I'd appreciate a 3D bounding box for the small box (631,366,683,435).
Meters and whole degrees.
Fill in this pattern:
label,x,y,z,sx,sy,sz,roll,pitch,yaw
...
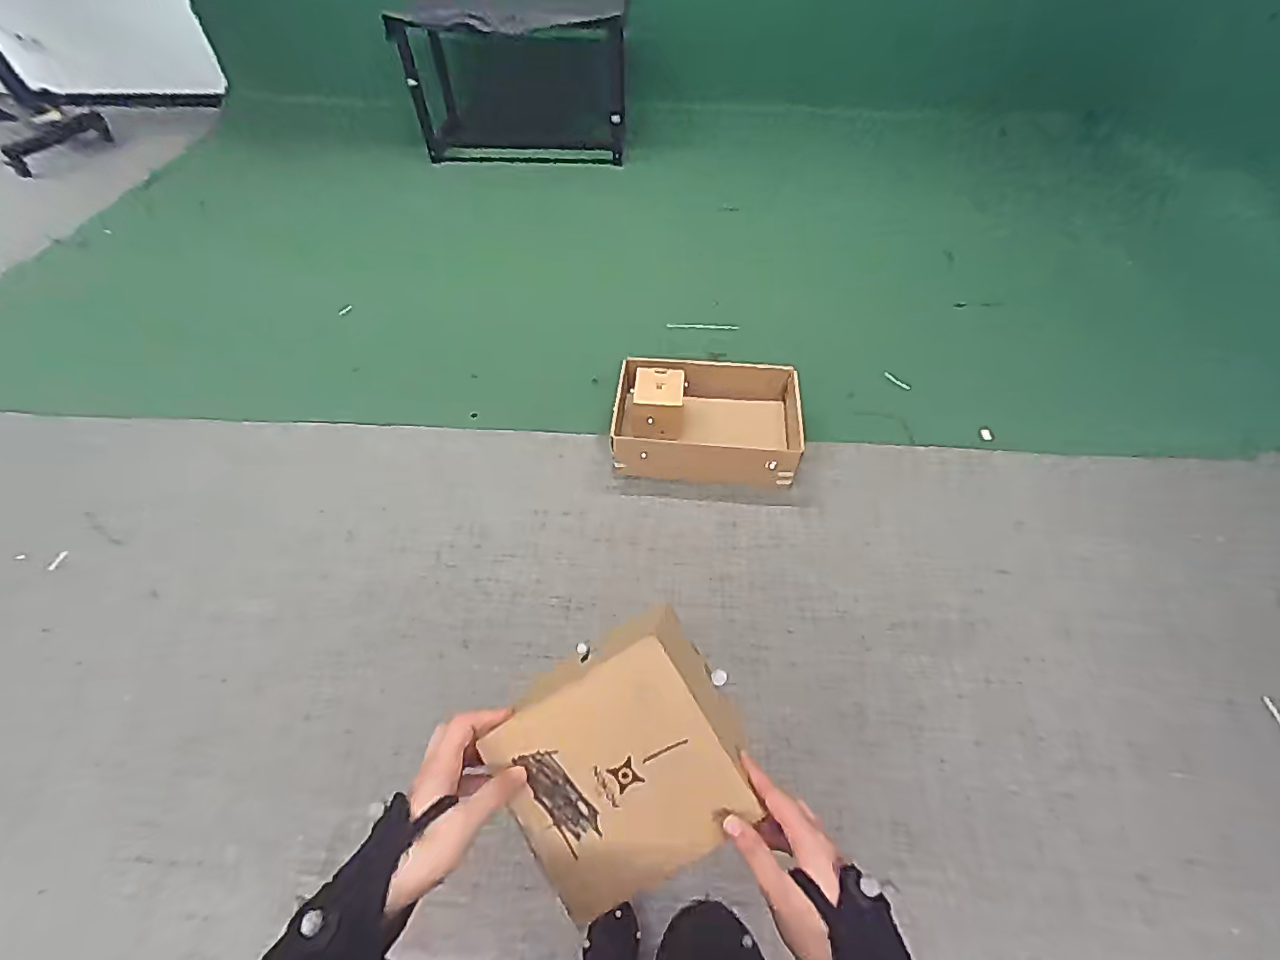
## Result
label,x,y,z,sx,sy,sz,roll,pitch,yaw
small box,0.060,-0.273,1.877,0.168,0.176,0.179,4,54,3

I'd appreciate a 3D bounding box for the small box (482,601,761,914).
label,x,y,z,sx,sy,sz,roll,pitch,yaw
small box,-0.009,0.237,0.510,0.179,0.176,0.168,-32,86,3
